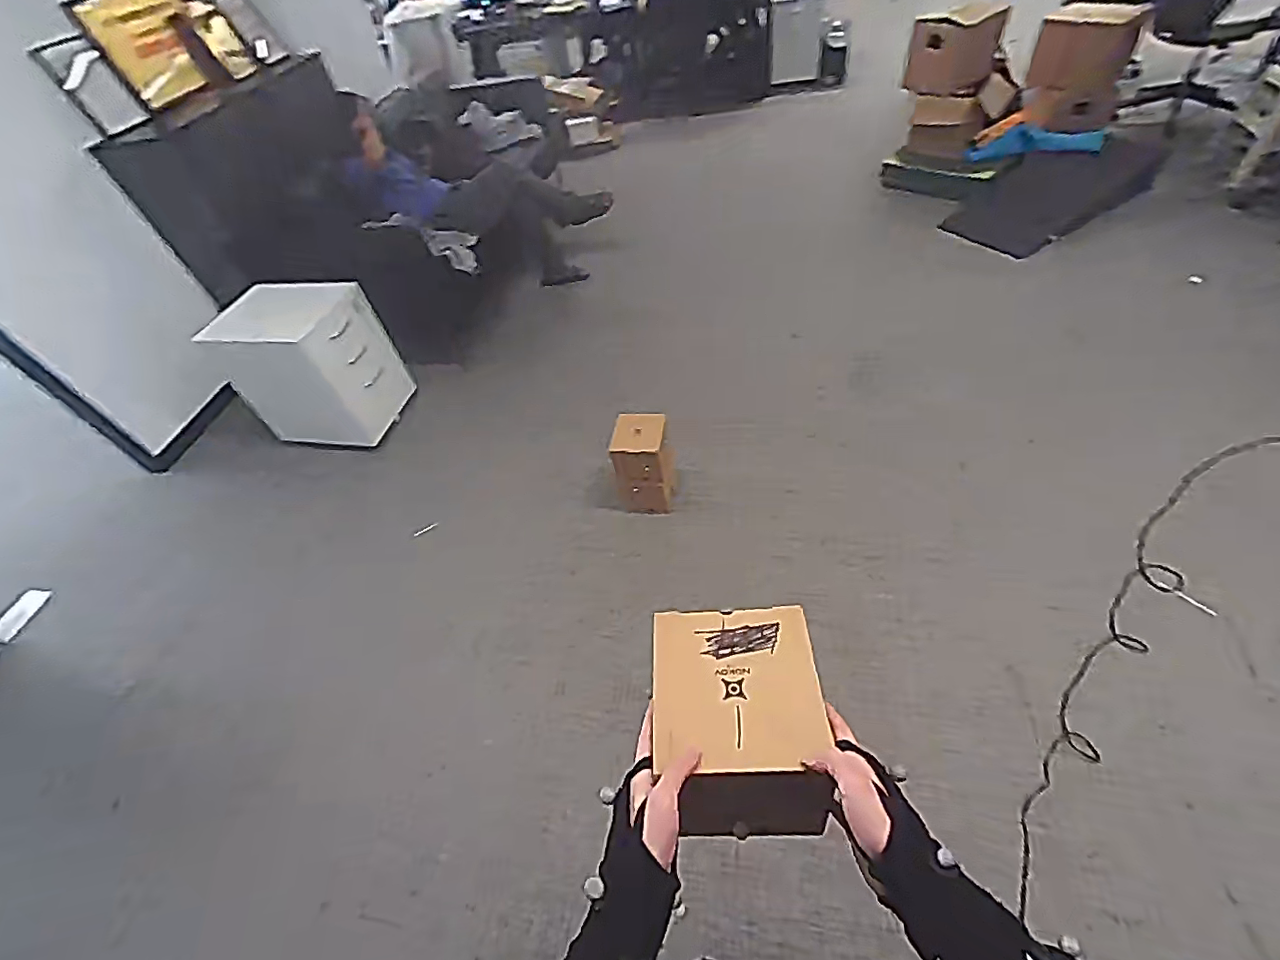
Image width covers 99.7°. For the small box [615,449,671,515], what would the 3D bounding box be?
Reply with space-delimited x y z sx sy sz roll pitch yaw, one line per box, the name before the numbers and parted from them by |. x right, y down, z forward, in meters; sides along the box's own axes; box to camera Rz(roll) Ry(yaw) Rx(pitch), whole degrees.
small box | 0.017 0.003 1.970 0.168 0.176 0.179 3 50 13

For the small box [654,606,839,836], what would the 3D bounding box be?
small box | 0.106 0.261 0.592 0.168 0.176 0.179 -5 40 6

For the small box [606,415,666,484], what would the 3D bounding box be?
small box | -0.008 -0.102 1.849 0.168 0.176 0.179 2 49 11
